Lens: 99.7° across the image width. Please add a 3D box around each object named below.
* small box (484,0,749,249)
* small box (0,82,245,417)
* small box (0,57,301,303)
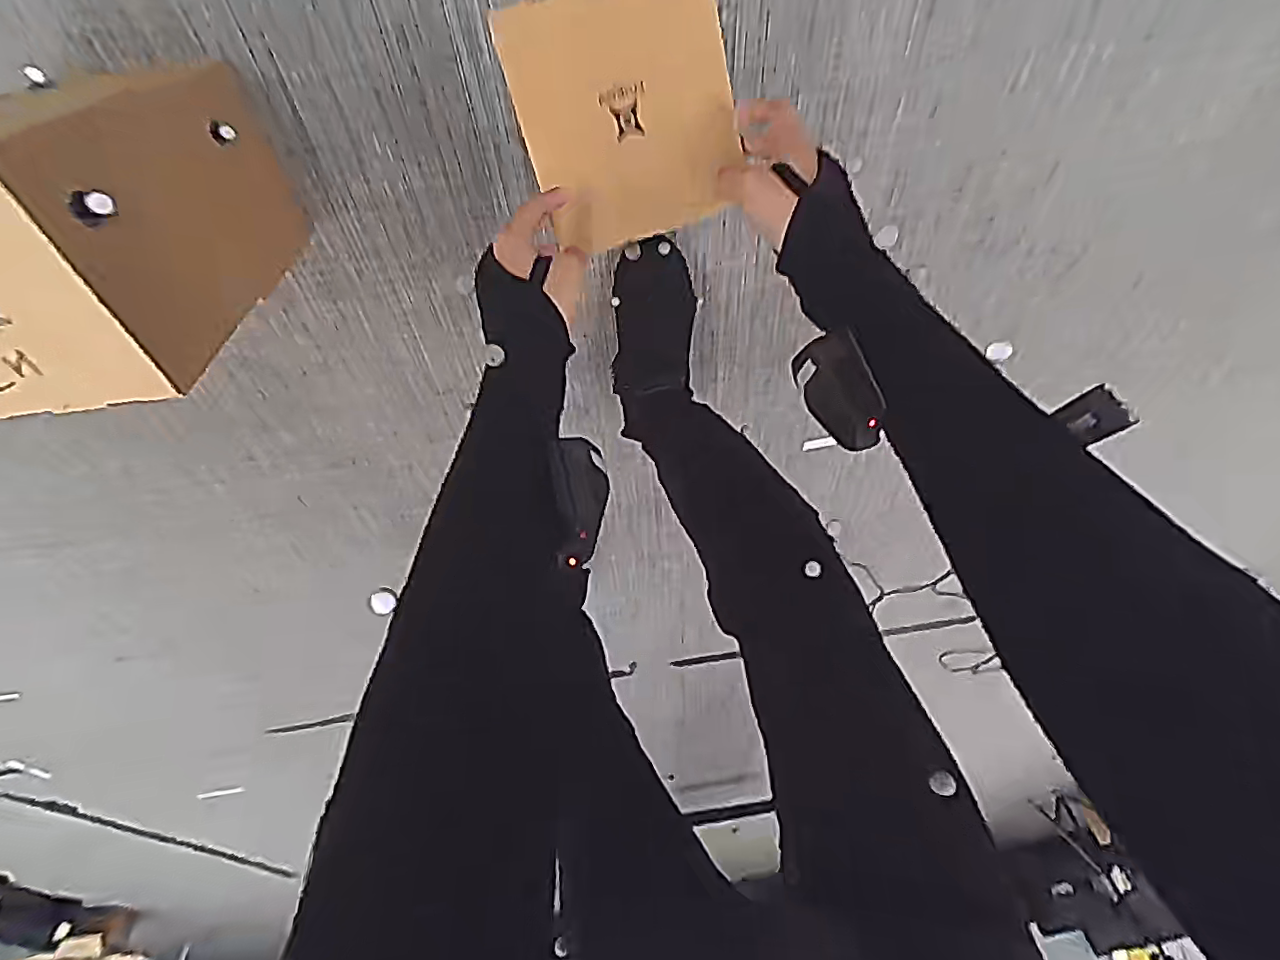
[{"bbox_3d":[-0.012,-0.319,0.481,0.168,0.176,0.179,-15,111,5],"label":"small box"},{"bbox_3d":[-0.444,-0.169,0.394,0.168,0.176,0.179,-7,137,-2],"label":"small box"},{"bbox_3d":[-0.465,-0.281,0.513,0.168,0.176,0.179,-7,136,-2],"label":"small box"}]
